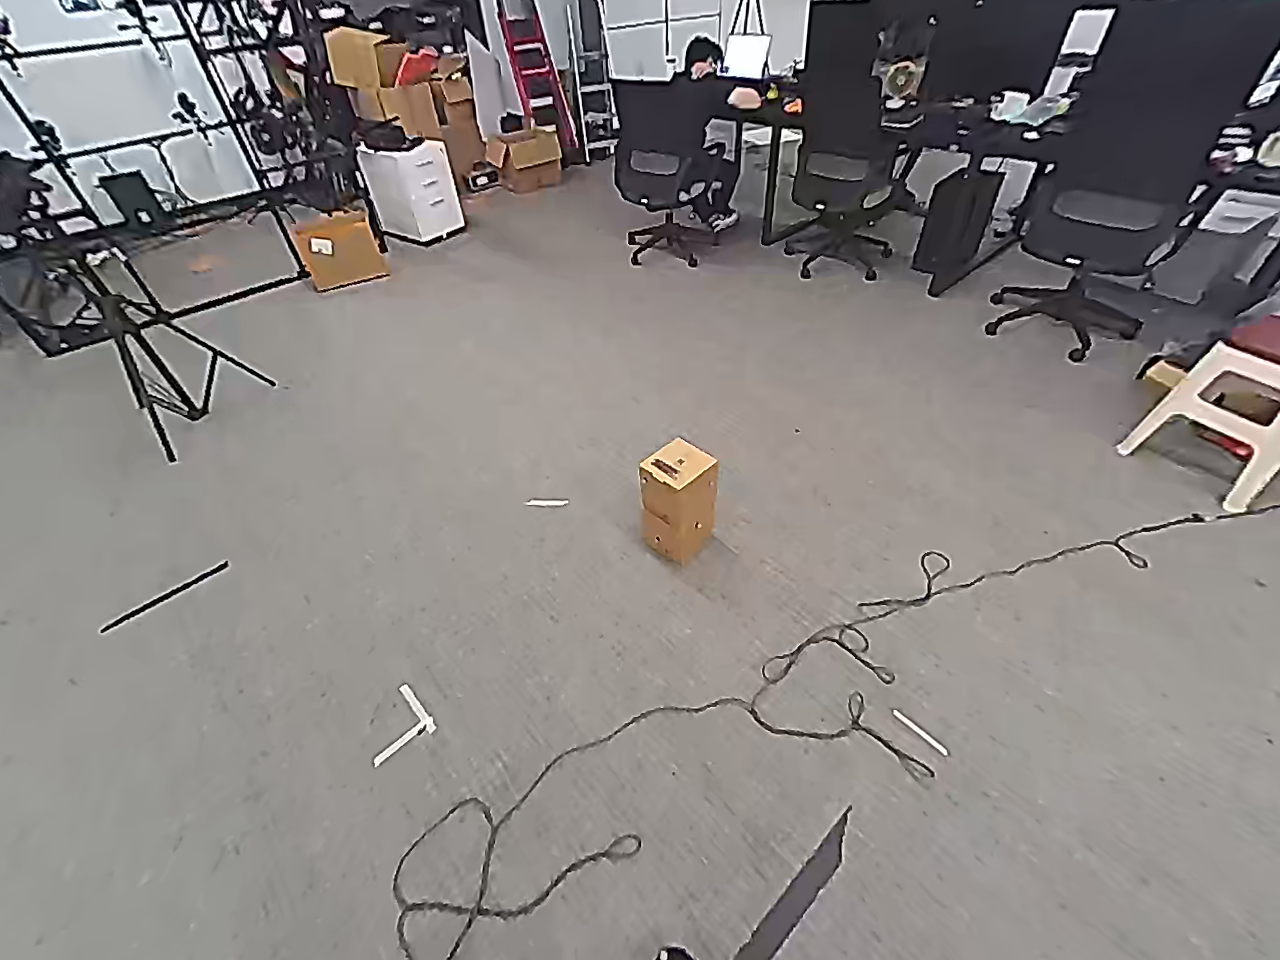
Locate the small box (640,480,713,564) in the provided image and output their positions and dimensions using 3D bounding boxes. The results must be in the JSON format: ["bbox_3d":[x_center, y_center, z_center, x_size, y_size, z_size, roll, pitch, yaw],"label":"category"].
[{"bbox_3d":[0.119,0.136,1.762,0.168,0.176,0.179,29,53,31],"label":"small box"}]
